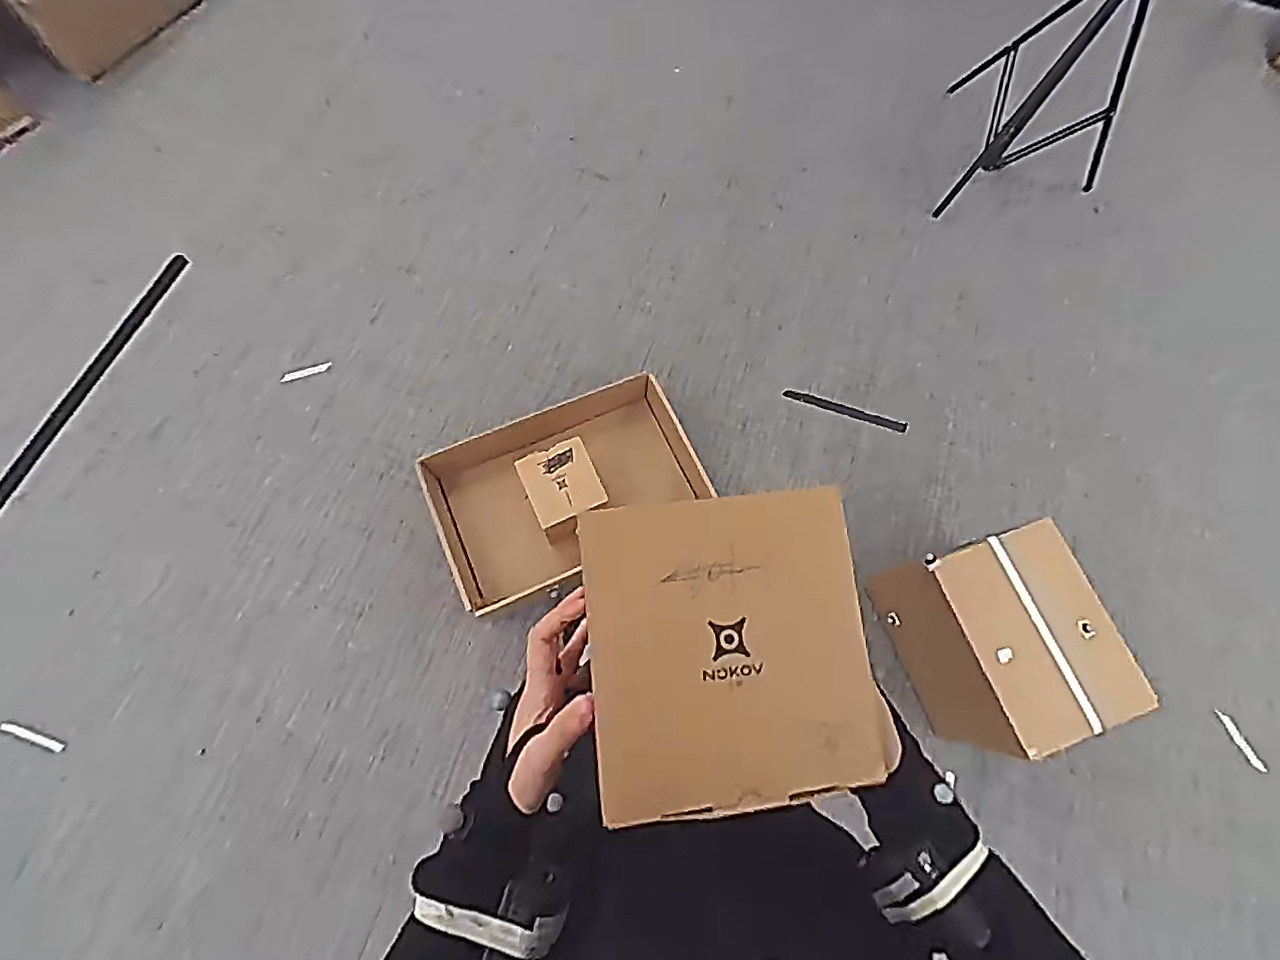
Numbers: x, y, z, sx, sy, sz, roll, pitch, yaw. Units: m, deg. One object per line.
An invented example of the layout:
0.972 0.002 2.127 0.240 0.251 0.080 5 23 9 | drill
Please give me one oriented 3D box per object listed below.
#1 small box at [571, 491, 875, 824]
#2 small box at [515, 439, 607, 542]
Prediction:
0.041 0.110 0.396 0.168 0.176 0.179 -5 81 -7 | small box
-0.189 0.032 1.314 0.168 0.176 0.179 -24 76 -10 | small box
